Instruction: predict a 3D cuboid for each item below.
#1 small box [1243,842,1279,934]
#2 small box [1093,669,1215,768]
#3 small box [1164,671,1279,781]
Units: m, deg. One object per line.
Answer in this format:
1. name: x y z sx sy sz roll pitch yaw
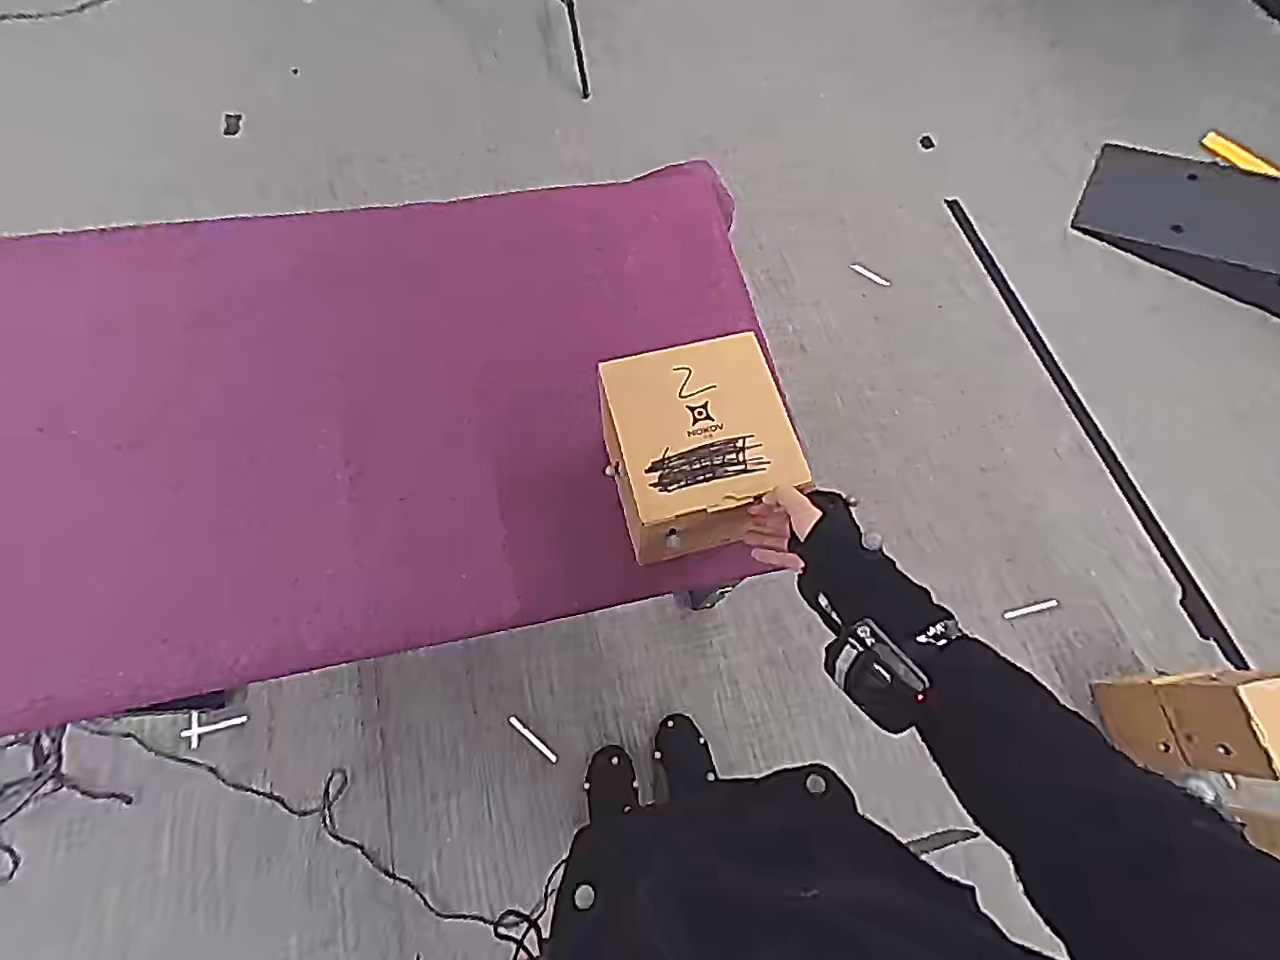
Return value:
1. small box: 1.260 0.755 0.957 0.168 0.176 0.179 -11 71 -6
2. small box: 1.182 0.531 1.215 0.168 0.176 0.179 -7 70 -6
3. small box: 1.199 0.476 1.063 0.179 0.176 0.168 -8 72 -7
